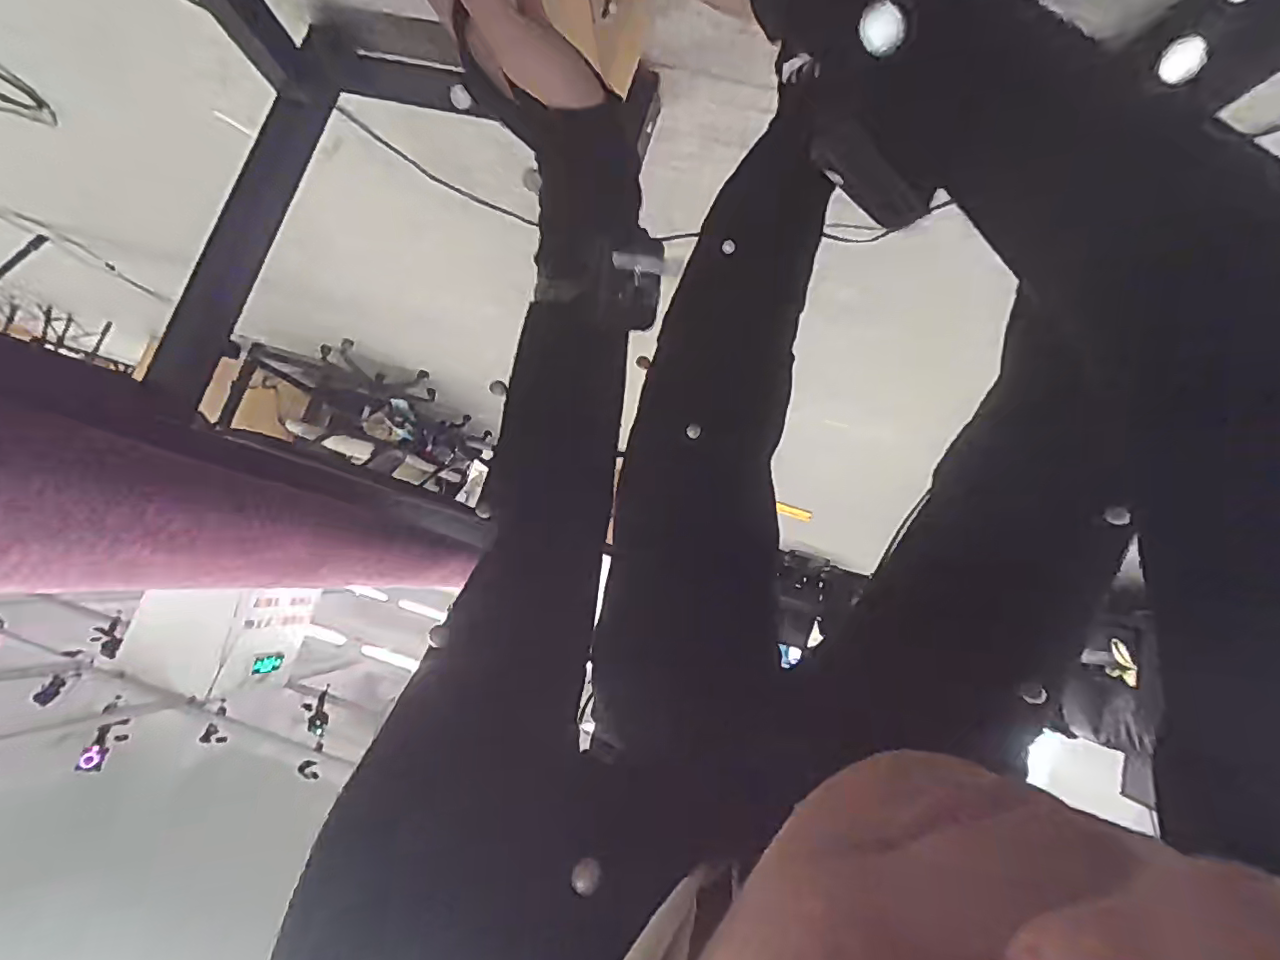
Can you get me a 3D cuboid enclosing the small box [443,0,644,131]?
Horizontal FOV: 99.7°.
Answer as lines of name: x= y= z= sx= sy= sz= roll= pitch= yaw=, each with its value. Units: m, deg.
small box: x=-0.100 y=-0.548 z=0.610 sx=0.168 sy=0.176 sz=0.179 roll=16 pitch=171 yaw=8
